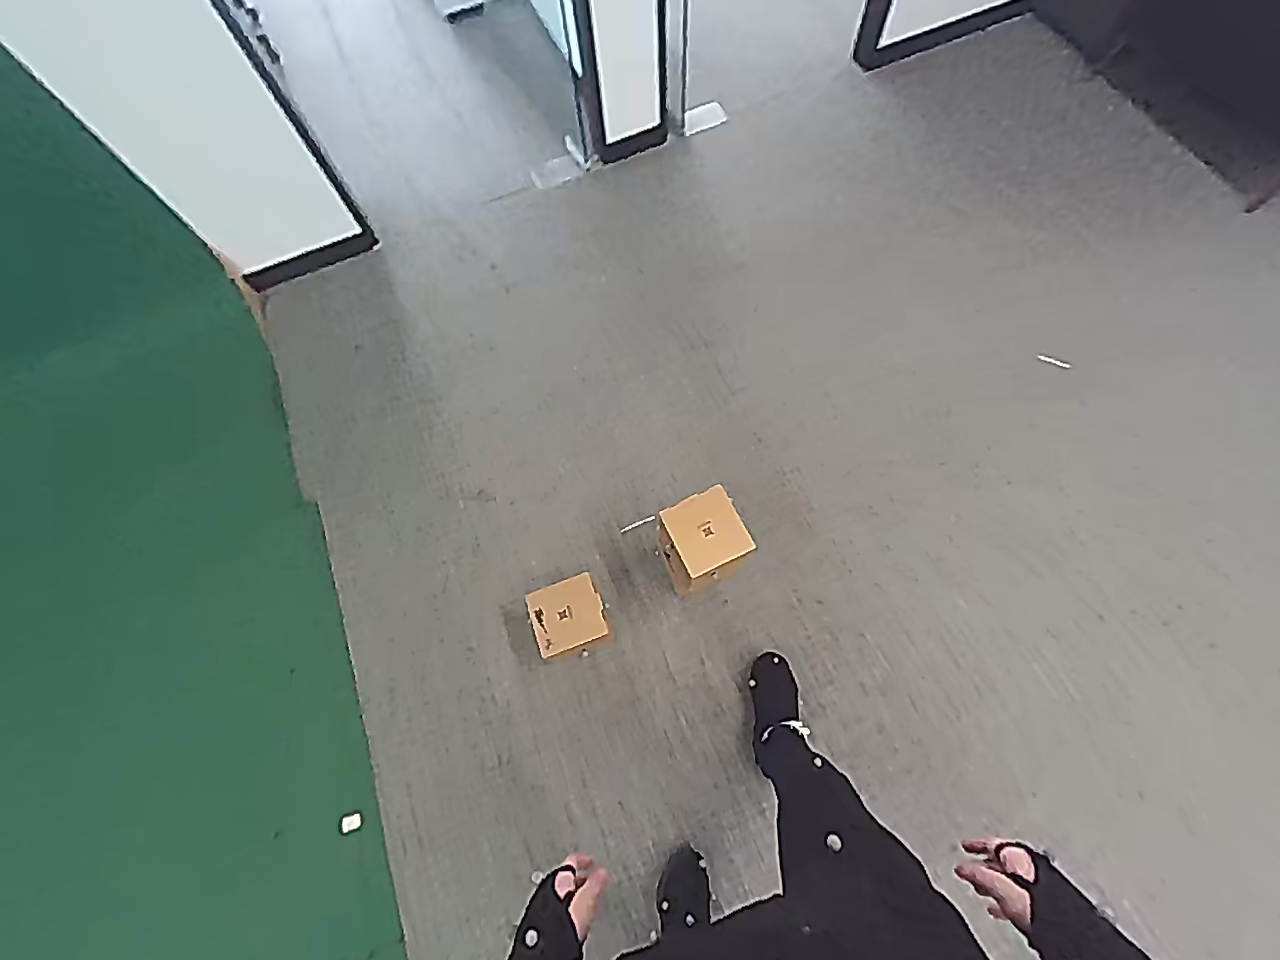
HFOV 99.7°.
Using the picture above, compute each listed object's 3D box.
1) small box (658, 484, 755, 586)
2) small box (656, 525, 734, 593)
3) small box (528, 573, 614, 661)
[{"bbox_3d":[0.157,0.141,1.303,0.168,0.176,0.179,-25,69,-6],"label":"small box"},{"bbox_3d":[0.156,0.191,1.459,0.179,0.176,0.168,-21,68,-6],"label":"small box"},{"bbox_3d":[-0.173,0.362,1.413,0.179,0.176,0.168,-20,68,-5],"label":"small box"}]
